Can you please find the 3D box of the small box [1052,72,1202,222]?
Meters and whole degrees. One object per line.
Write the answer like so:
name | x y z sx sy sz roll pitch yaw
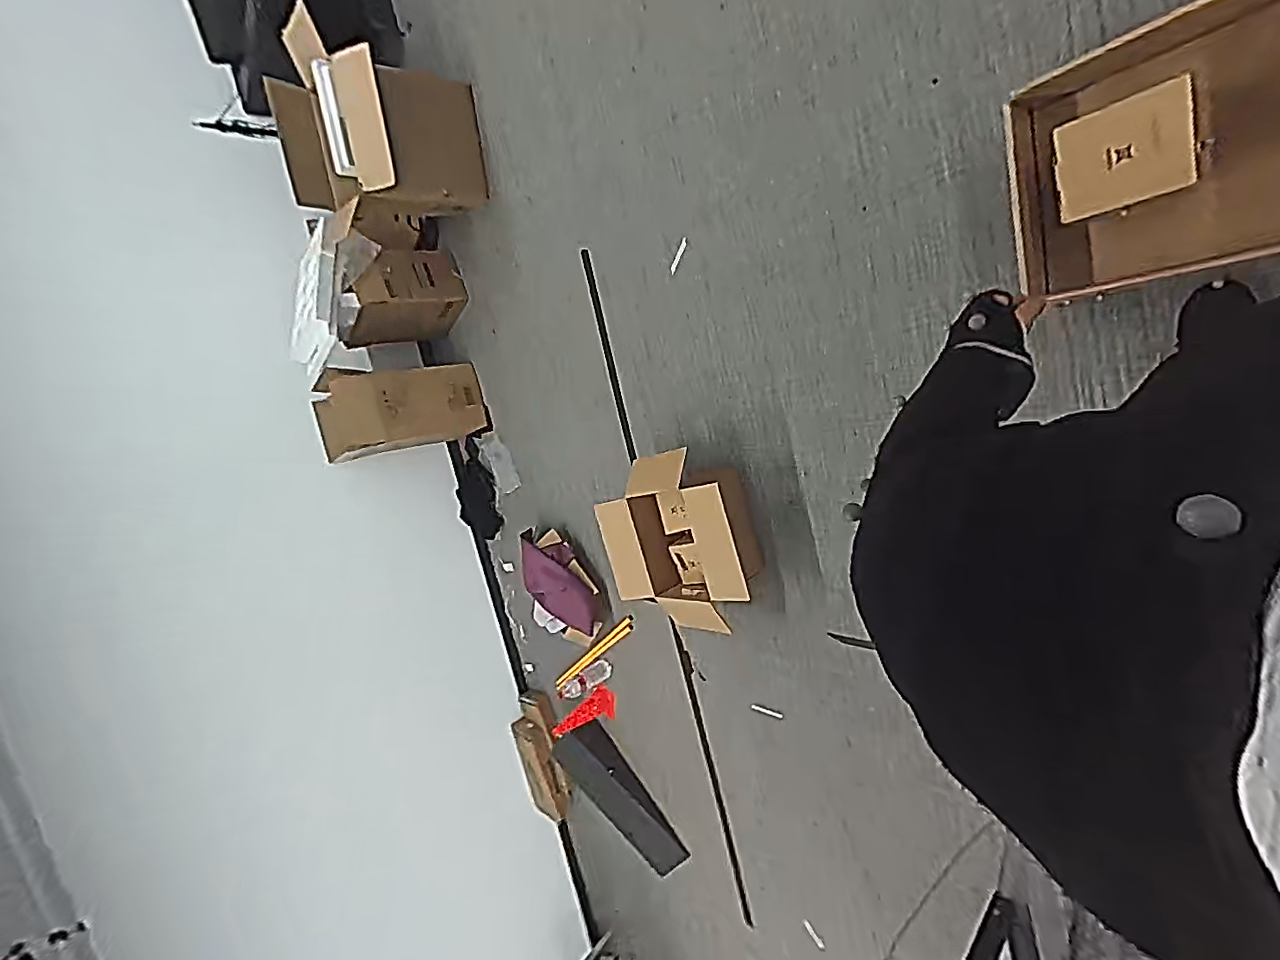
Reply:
small box | 0.863 -0.571 0.957 0.179 0.176 0.168 -3 105 48
